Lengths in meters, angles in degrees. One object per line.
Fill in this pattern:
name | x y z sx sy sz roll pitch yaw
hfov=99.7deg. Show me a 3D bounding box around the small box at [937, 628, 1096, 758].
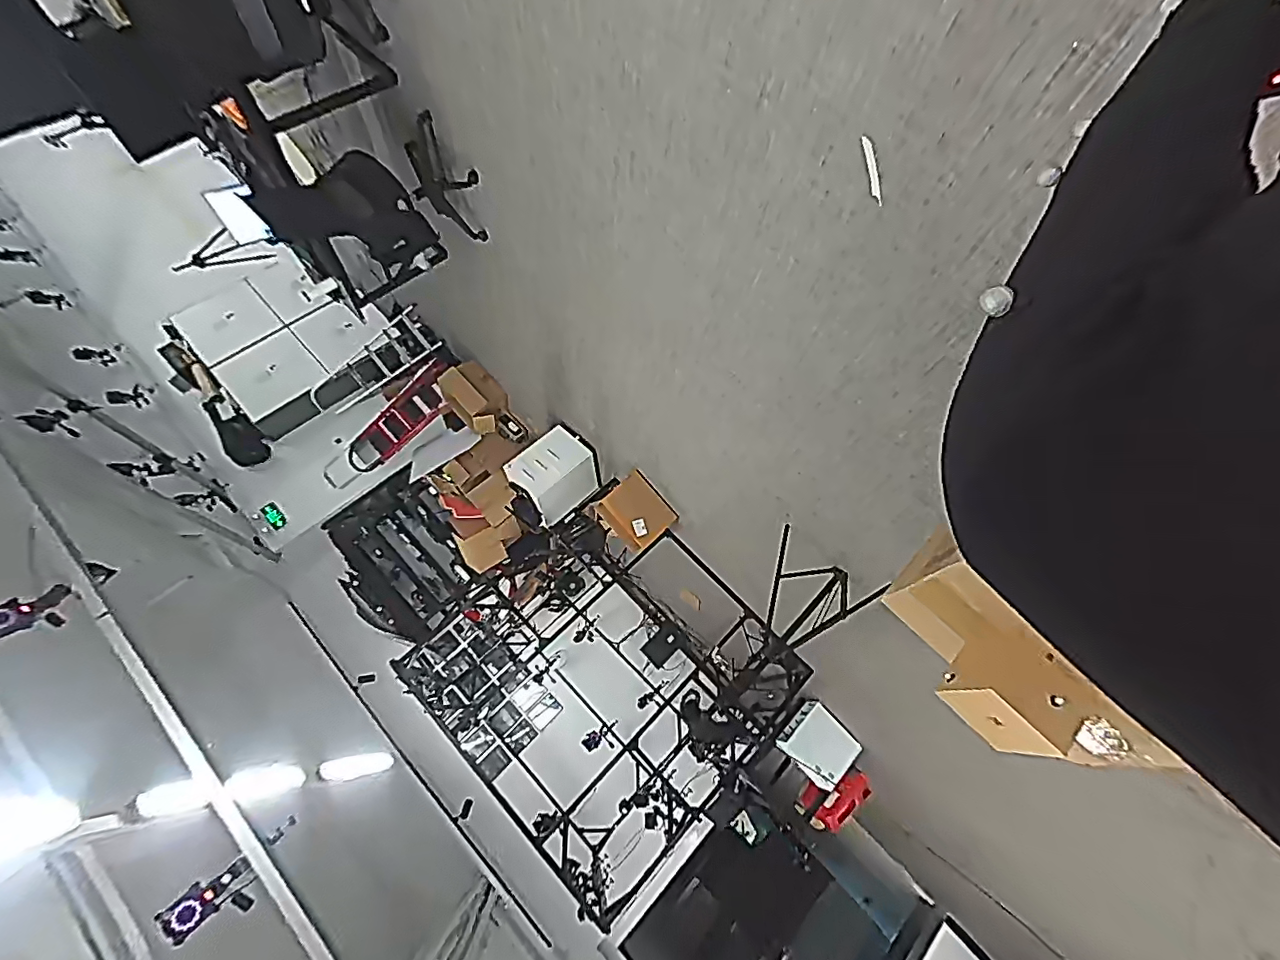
small box | 0.737 0.410 1.058 0.168 0.176 0.179 44 159 12
